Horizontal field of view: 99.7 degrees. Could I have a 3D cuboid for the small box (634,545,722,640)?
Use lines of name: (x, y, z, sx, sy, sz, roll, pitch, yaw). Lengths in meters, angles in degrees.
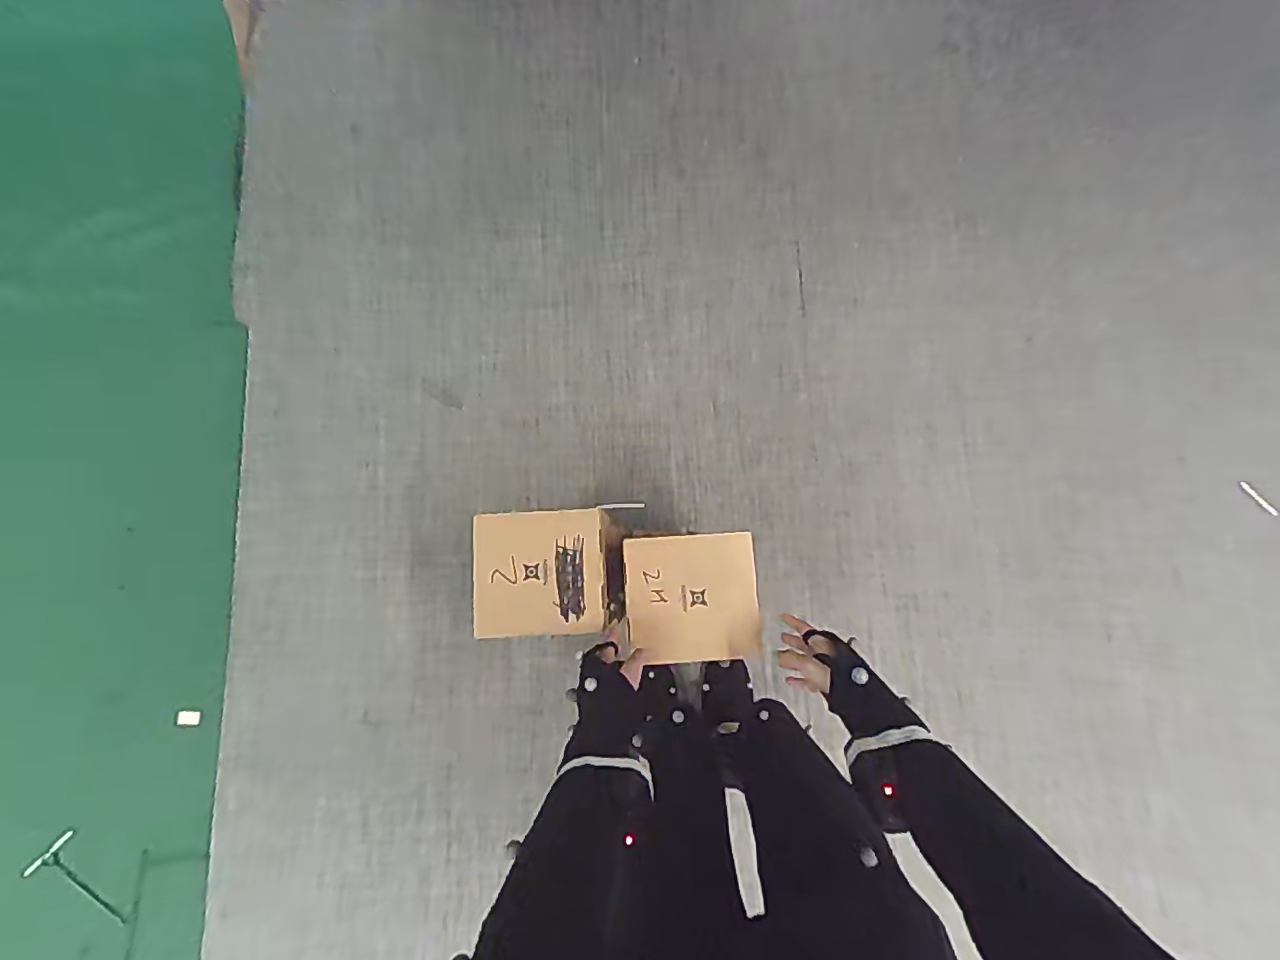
small box: (0.072, 0.227, 1.111, 0.168, 0.176, 0.179, -3, 82, 1)
